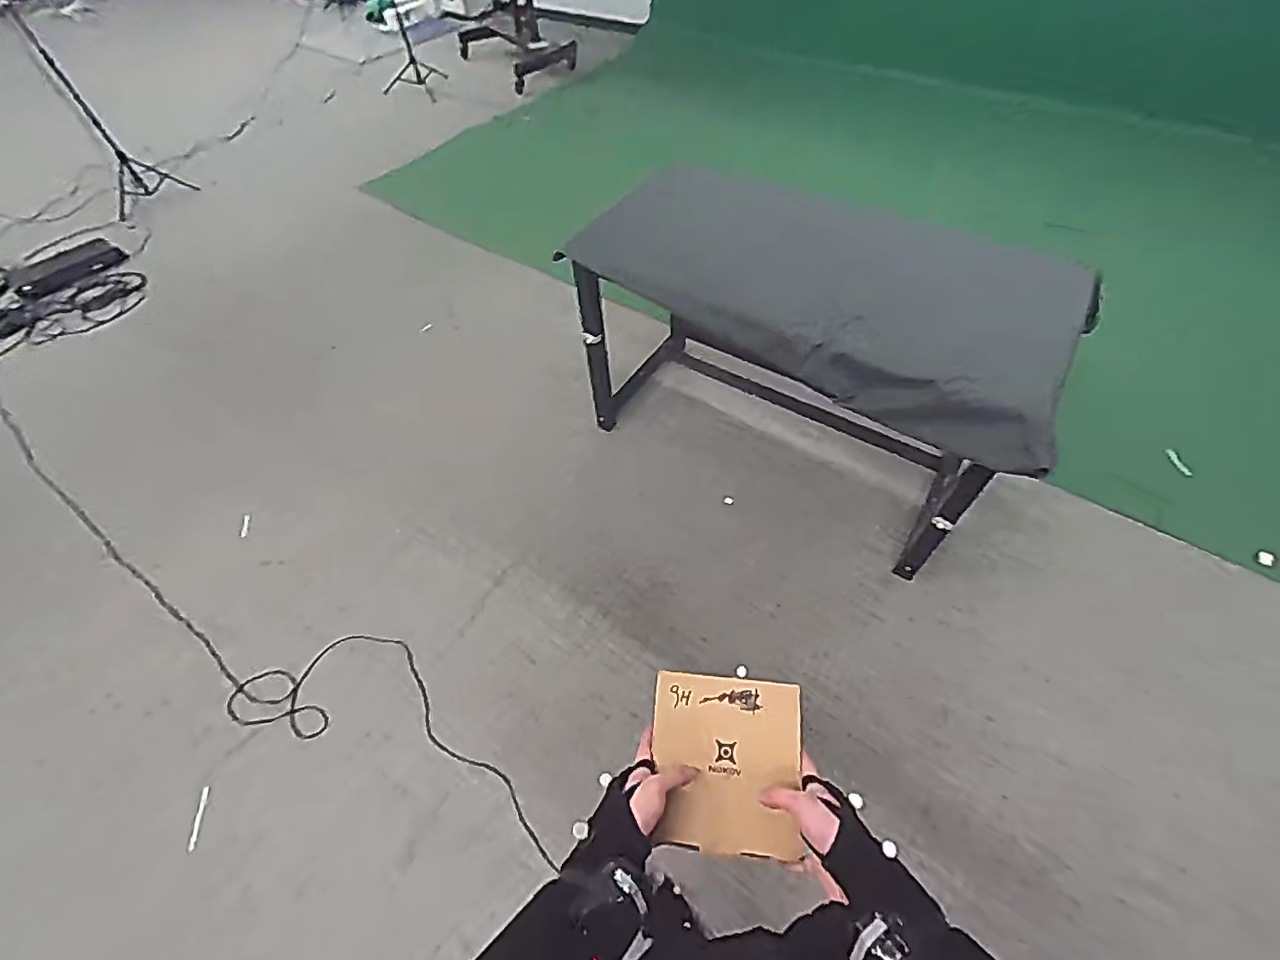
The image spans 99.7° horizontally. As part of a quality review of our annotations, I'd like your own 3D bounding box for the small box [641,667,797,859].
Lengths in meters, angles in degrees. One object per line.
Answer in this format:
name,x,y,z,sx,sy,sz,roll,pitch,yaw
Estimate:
small box,0.095,0.329,0.665,0.168,0.176,0.179,3,71,5
